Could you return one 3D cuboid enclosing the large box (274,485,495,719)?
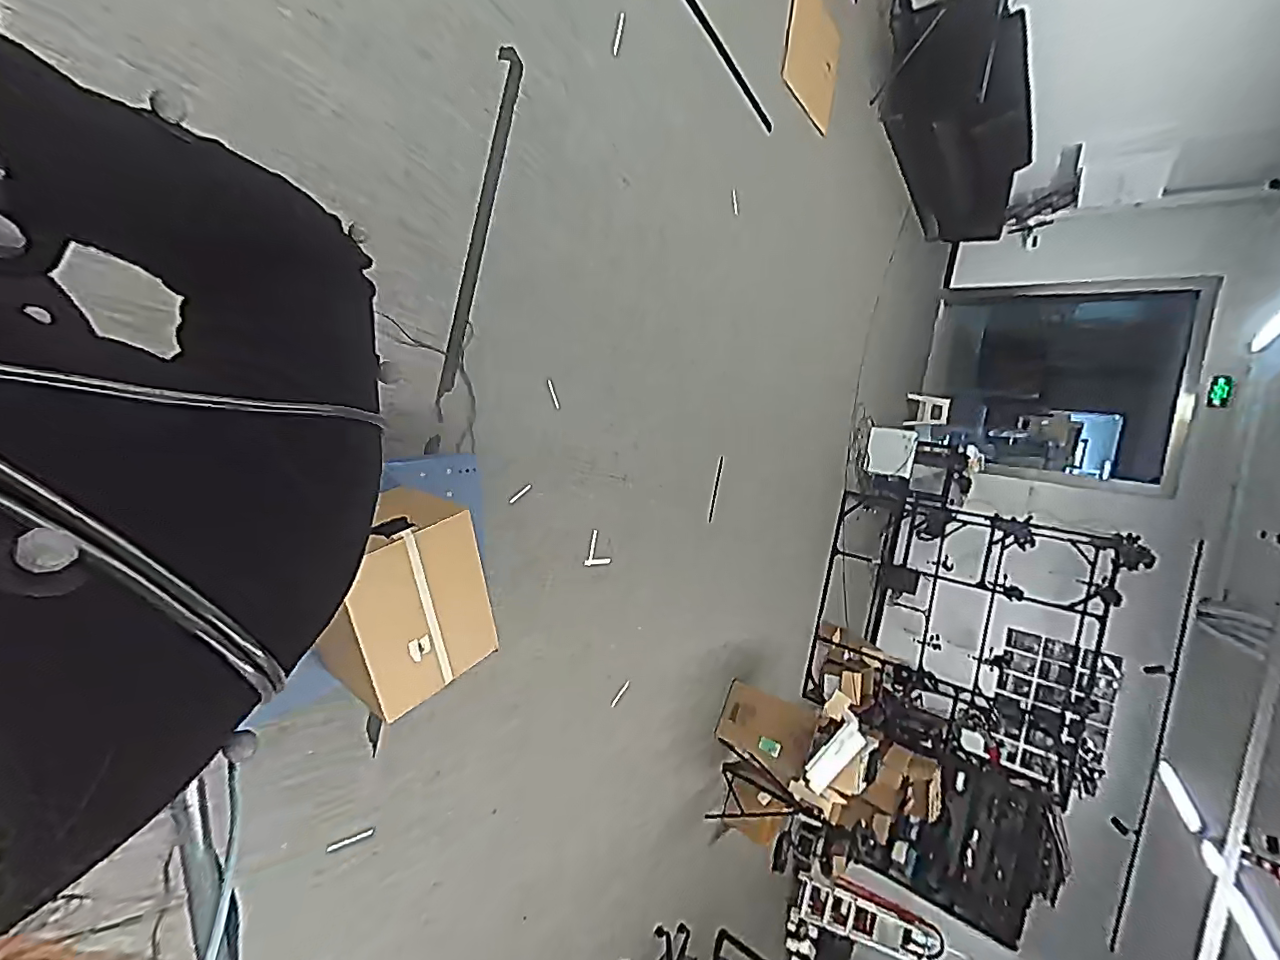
[{"bbox_3d":[-0.601,0.269,1.305,0.320,0.320,0.408,-28,122,-45],"label":"large box"}]
